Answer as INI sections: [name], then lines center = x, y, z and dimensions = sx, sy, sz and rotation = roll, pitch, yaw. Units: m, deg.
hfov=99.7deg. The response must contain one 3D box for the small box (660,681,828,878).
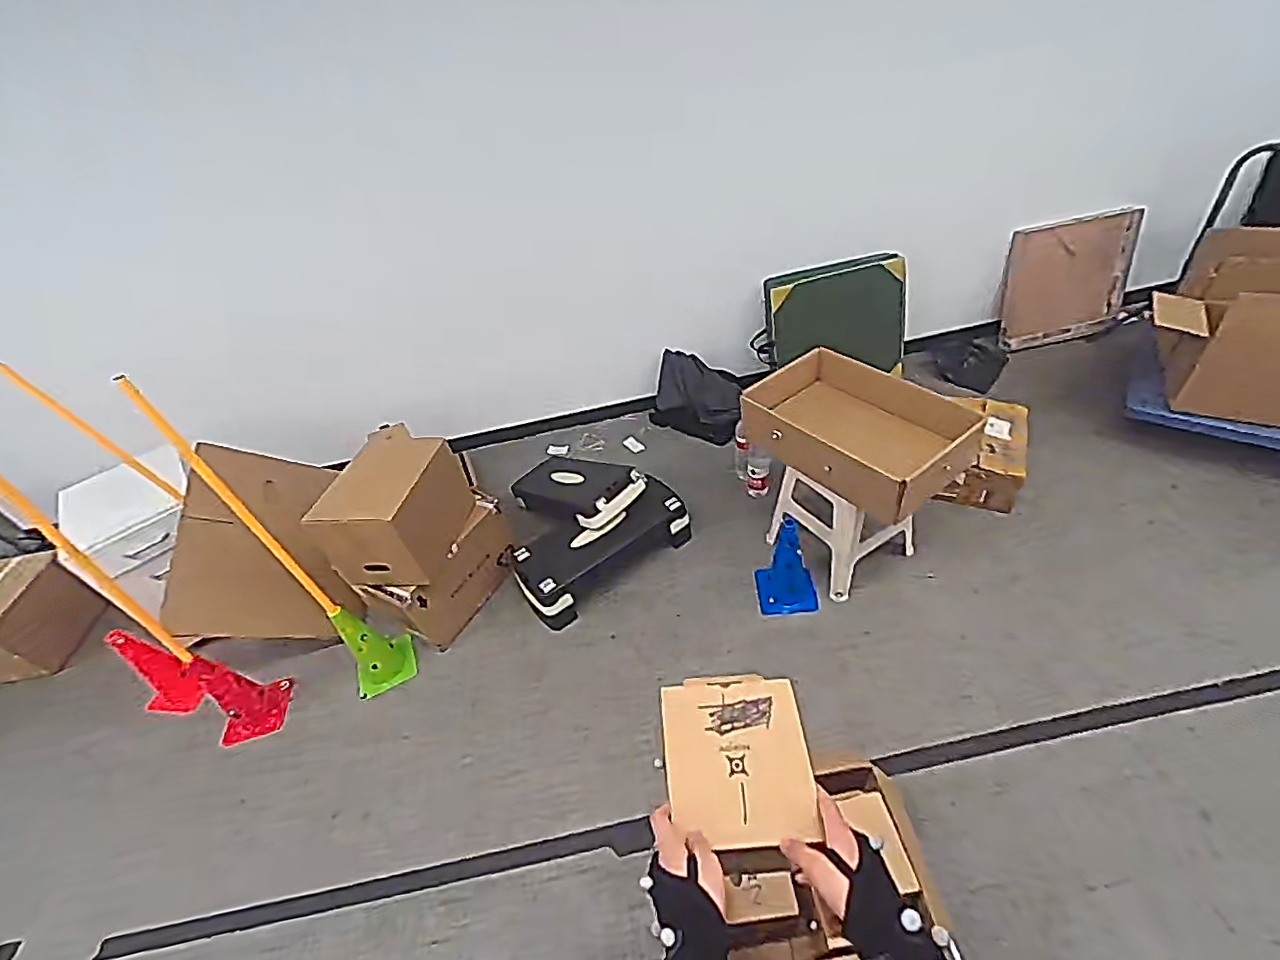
[small box]
center = 0.114, 0.376, 0.682
dimensions = 0.168, 0.176, 0.179
rotation = -4, 46, -2
